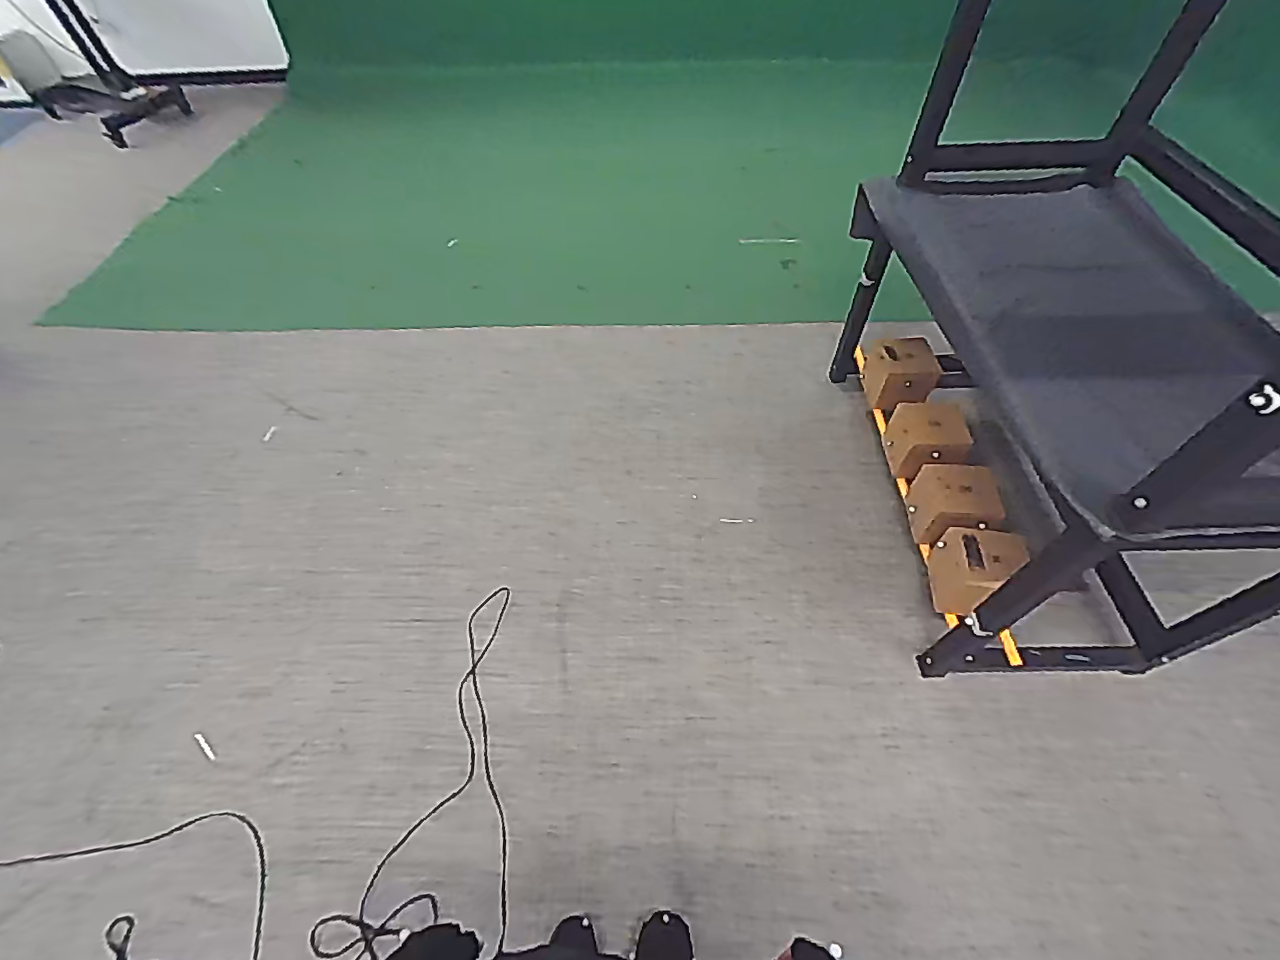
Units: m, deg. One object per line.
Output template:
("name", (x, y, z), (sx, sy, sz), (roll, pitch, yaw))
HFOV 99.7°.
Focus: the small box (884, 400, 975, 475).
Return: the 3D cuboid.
("small box", (0.878, -0.128, 1.656), (0.179, 0.176, 0.168), (-1, 54, 4))
